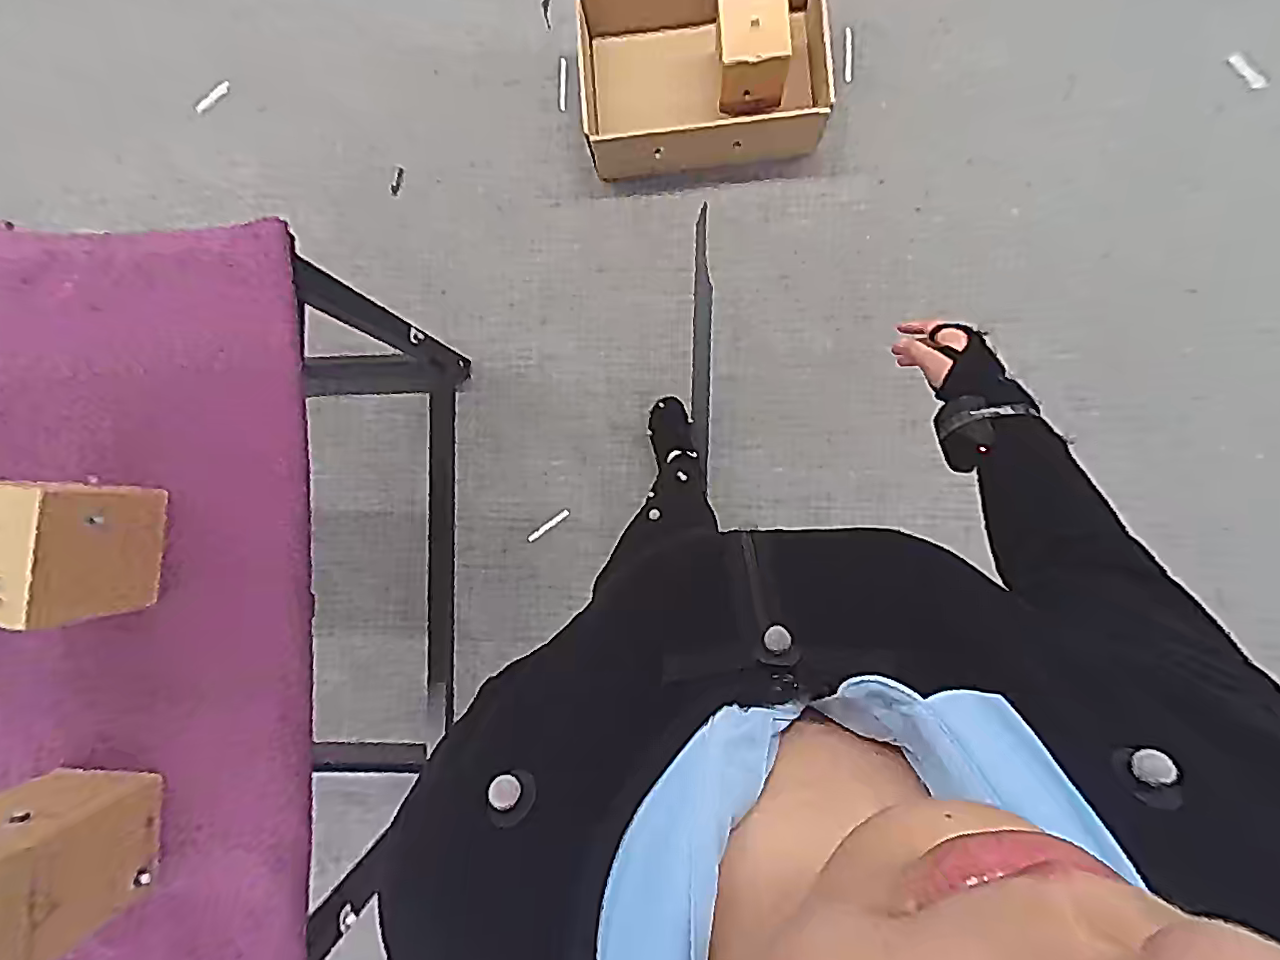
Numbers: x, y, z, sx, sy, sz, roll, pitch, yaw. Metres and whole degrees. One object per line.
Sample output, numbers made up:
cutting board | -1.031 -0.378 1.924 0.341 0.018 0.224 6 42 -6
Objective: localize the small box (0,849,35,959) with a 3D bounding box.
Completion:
small box | -0.806 0.516 0.568 0.168 0.176 0.179 0 88 5

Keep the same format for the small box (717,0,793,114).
small box | 0.288 -1.086 1.385 0.168 0.176 0.179 -4 88 5

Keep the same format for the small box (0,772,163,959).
small box | -0.802 0.521 0.733 0.179 0.176 0.168 0 87 5
